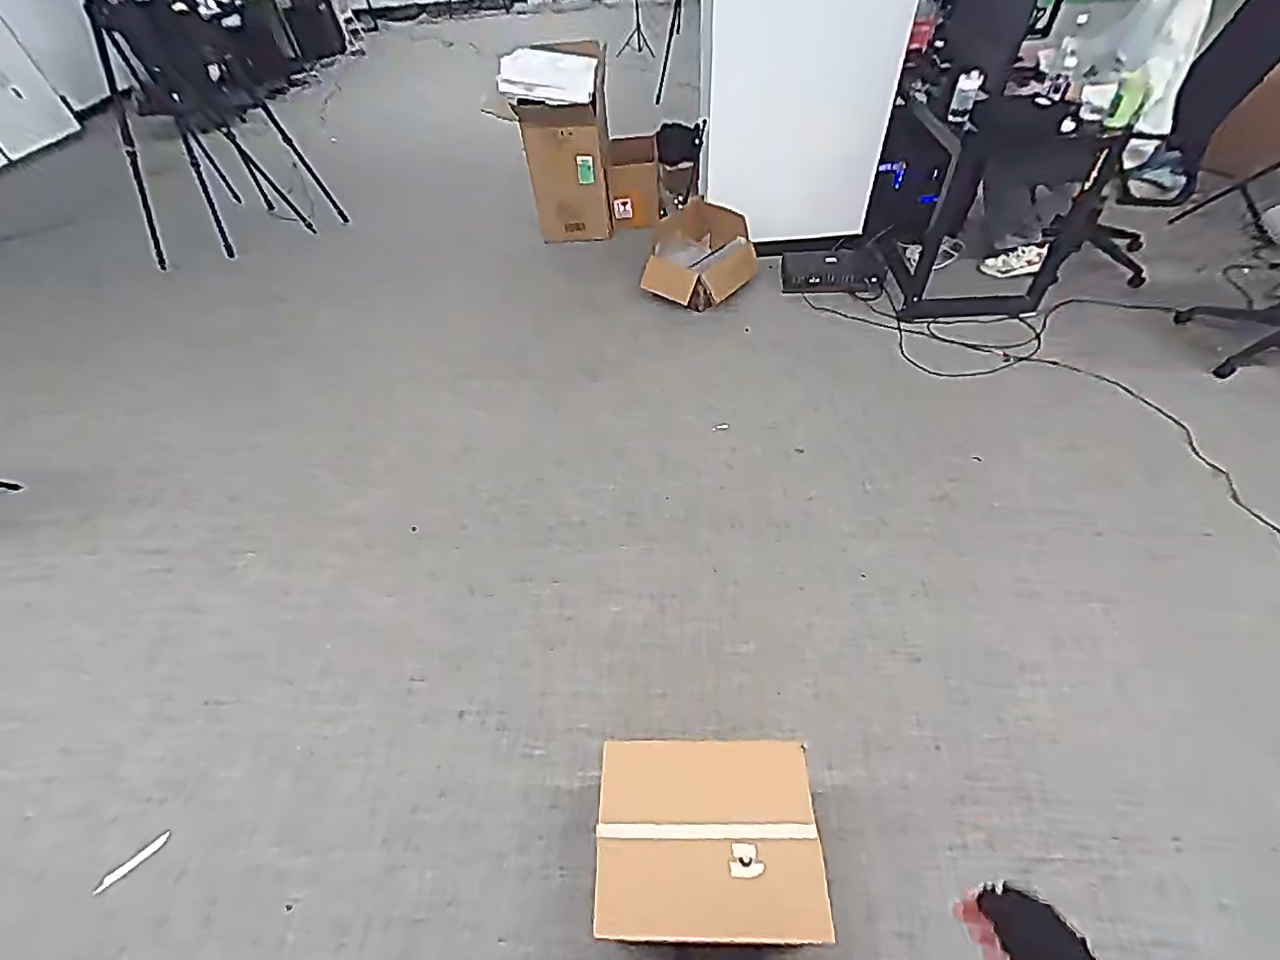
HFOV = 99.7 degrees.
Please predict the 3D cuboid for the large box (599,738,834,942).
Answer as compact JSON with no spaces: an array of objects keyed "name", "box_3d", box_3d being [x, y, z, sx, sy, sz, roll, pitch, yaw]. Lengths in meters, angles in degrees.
[{"name":"large box","box_3d":[0.134,0.743,1.112,0.408,0.320,0.320,-1,50,3]}]
